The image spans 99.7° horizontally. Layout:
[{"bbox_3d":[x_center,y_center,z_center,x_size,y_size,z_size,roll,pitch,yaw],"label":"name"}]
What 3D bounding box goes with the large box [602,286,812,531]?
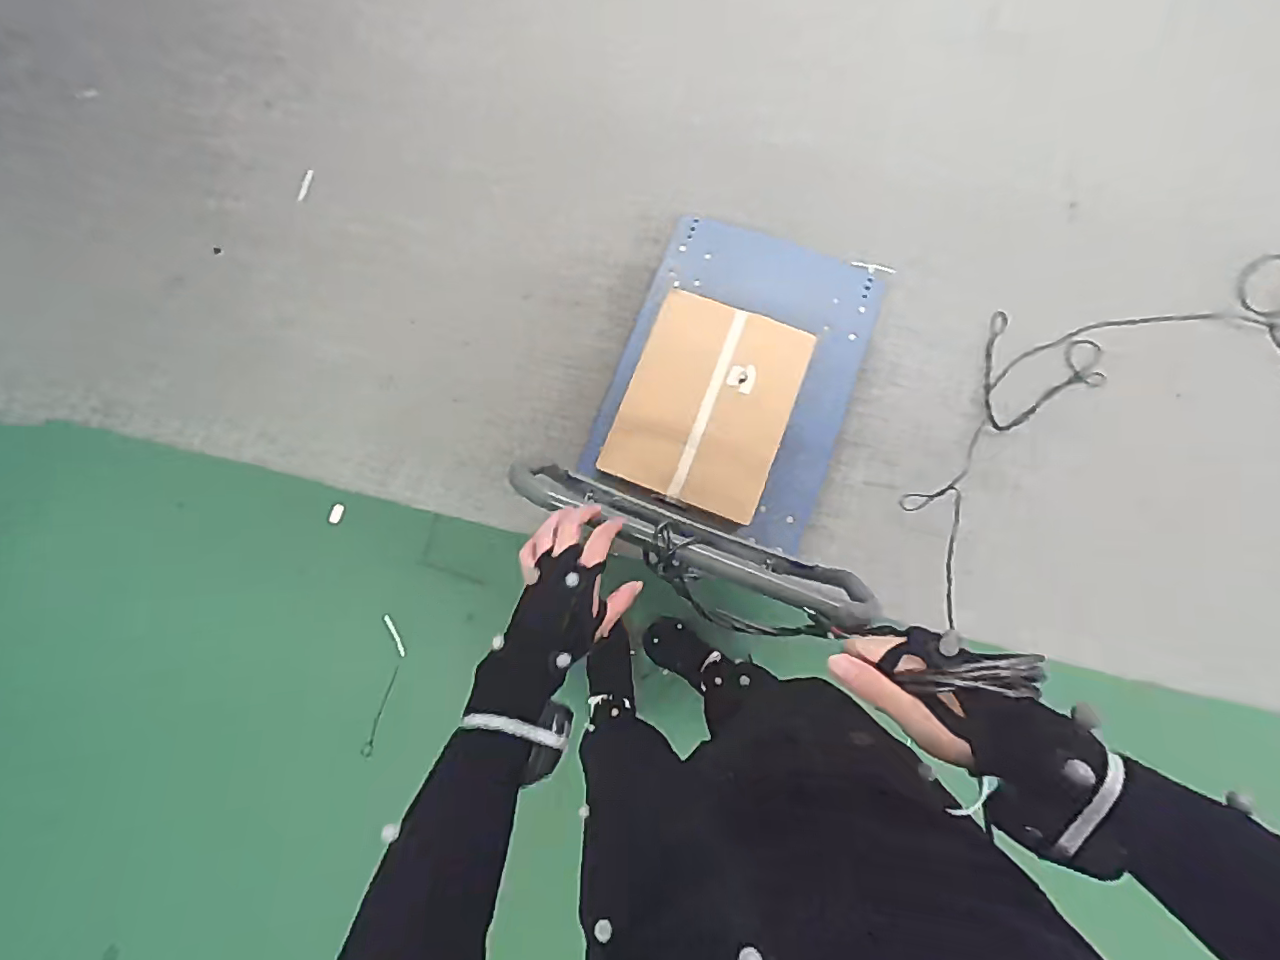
[{"bbox_3d":[0.138,-0.134,1.197,0.320,0.320,0.408,21,81,4],"label":"large box"}]
